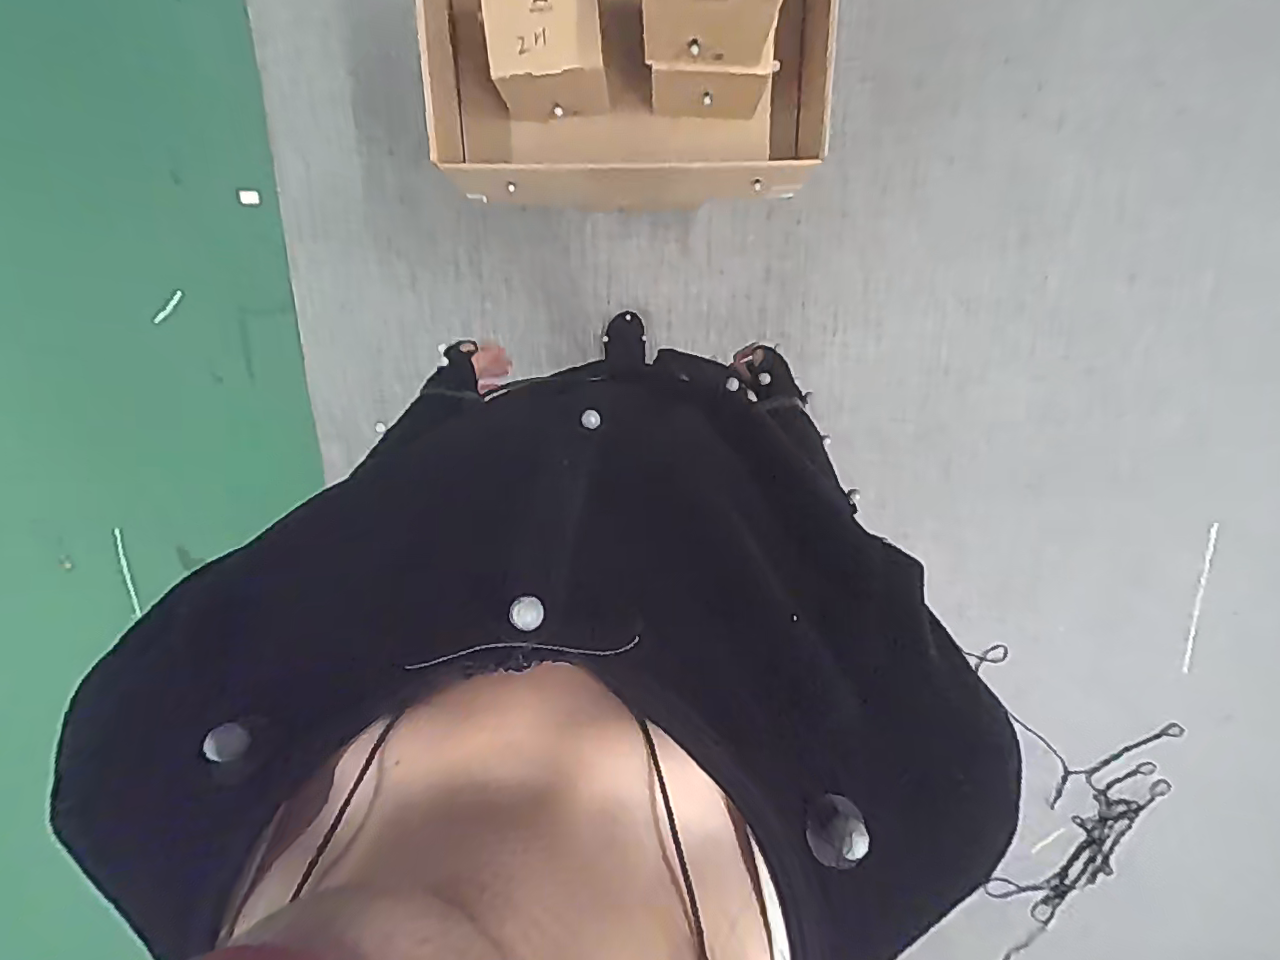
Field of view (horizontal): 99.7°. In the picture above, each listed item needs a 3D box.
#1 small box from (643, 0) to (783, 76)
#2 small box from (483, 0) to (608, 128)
[{"bbox_3d":[0.089,-0.654,0.681,0.168,0.176,0.179,3,103,1],"label":"small box"},{"bbox_3d":[-0.140,-0.684,0.842,0.168,0.176,0.179,-4,103,1],"label":"small box"}]
